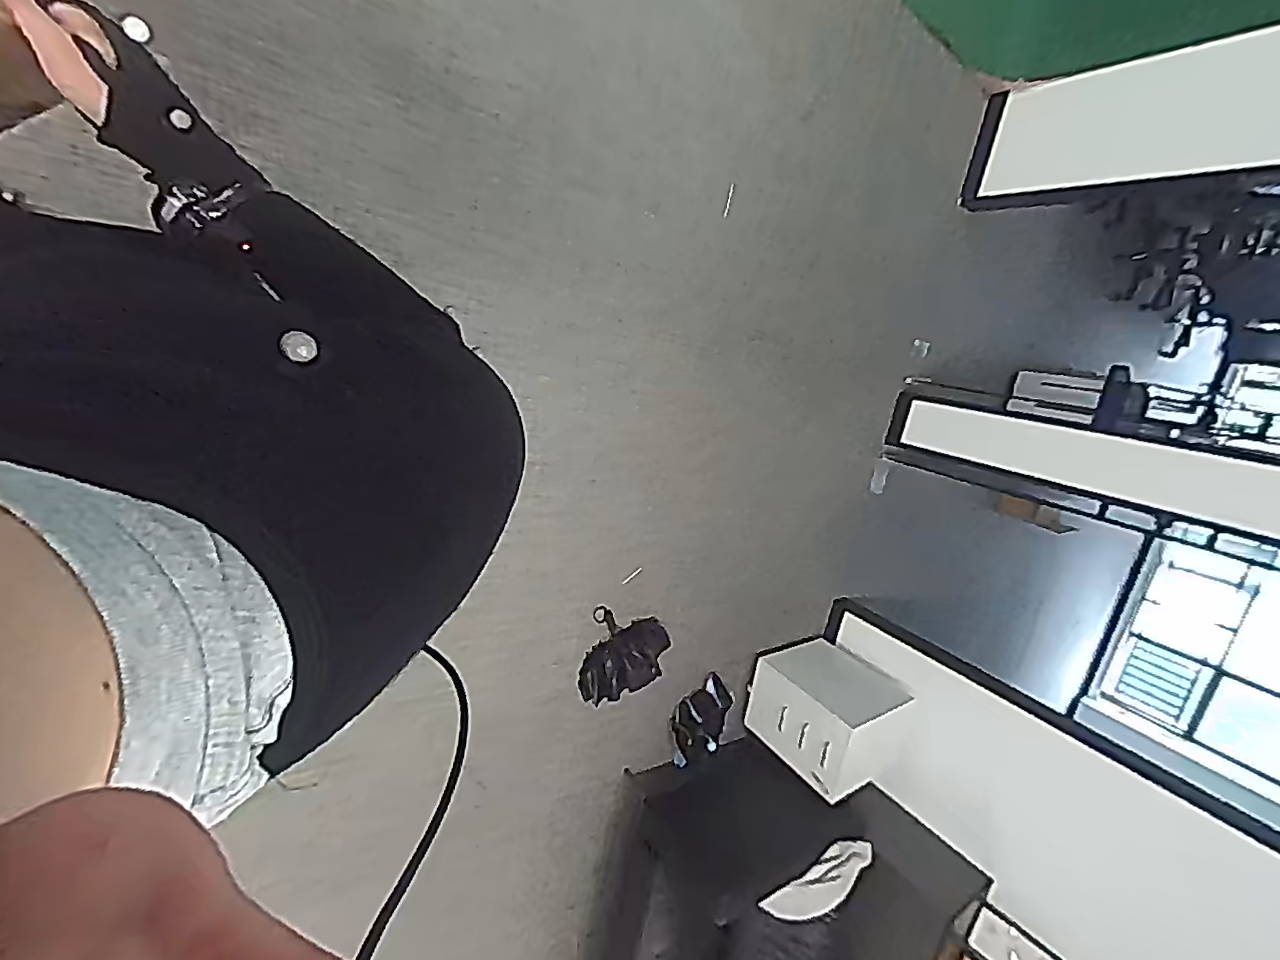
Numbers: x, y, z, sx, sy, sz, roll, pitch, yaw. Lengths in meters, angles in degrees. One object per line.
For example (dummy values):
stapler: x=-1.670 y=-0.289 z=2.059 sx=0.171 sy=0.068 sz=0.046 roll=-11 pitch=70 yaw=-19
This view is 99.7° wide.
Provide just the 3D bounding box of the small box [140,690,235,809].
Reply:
small box: x=-1.121 y=0.665 z=1.352 sx=0.168 sy=0.176 sz=0.179 roll=-4 pitch=109 yaw=-36

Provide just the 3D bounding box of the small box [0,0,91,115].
small box: x=-0.525 y=-0.331 z=0.337 sx=0.168 sy=0.176 sz=0.179 roll=-34 pitch=122 yaw=-7
